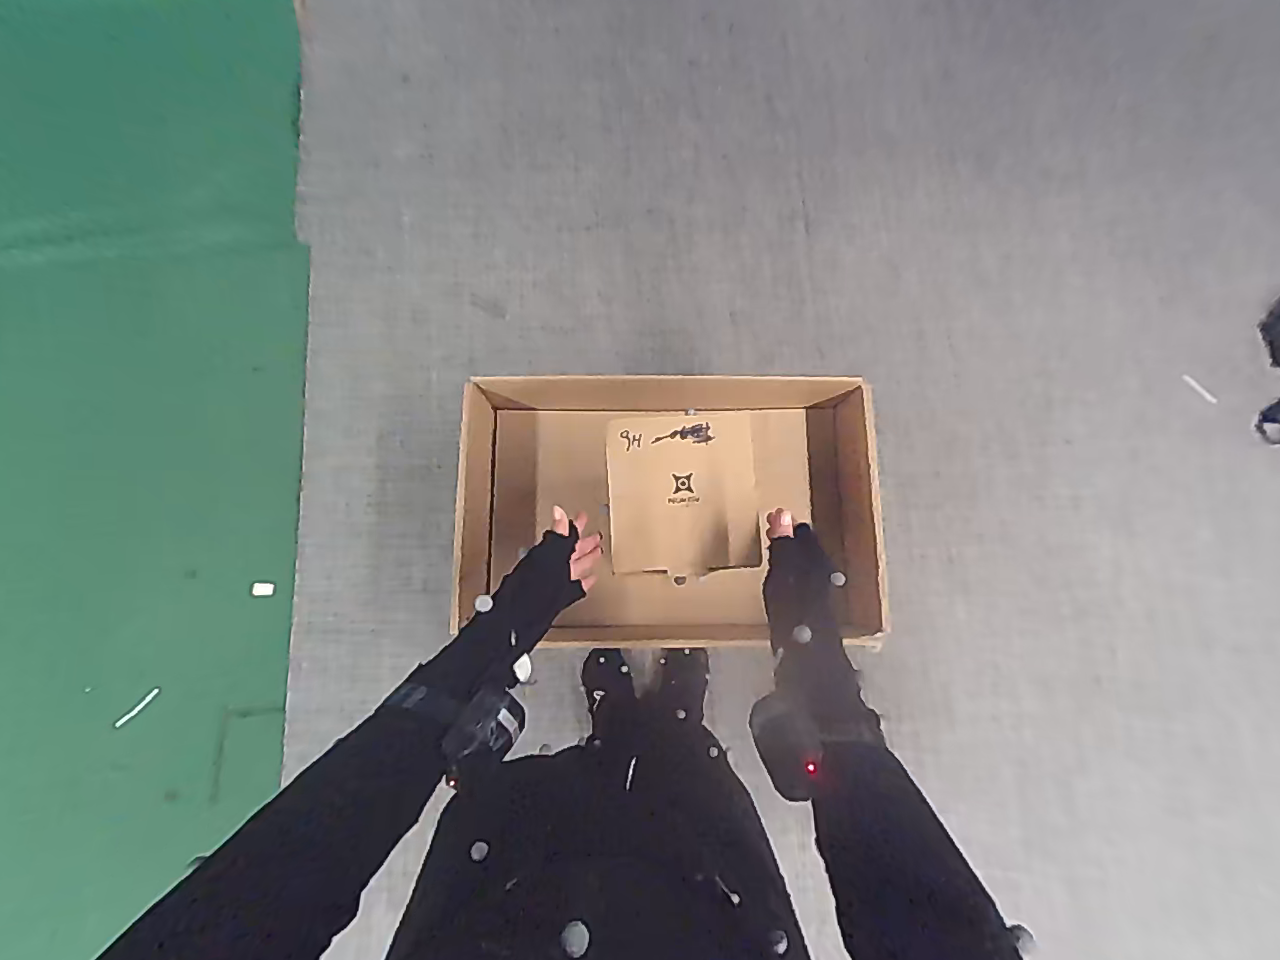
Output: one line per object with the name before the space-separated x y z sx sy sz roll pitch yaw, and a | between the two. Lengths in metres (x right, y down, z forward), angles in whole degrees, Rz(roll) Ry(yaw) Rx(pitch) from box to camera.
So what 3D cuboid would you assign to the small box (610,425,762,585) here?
small box | 0.050 0.038 0.681 0.168 0.176 0.179 -2 80 -1
